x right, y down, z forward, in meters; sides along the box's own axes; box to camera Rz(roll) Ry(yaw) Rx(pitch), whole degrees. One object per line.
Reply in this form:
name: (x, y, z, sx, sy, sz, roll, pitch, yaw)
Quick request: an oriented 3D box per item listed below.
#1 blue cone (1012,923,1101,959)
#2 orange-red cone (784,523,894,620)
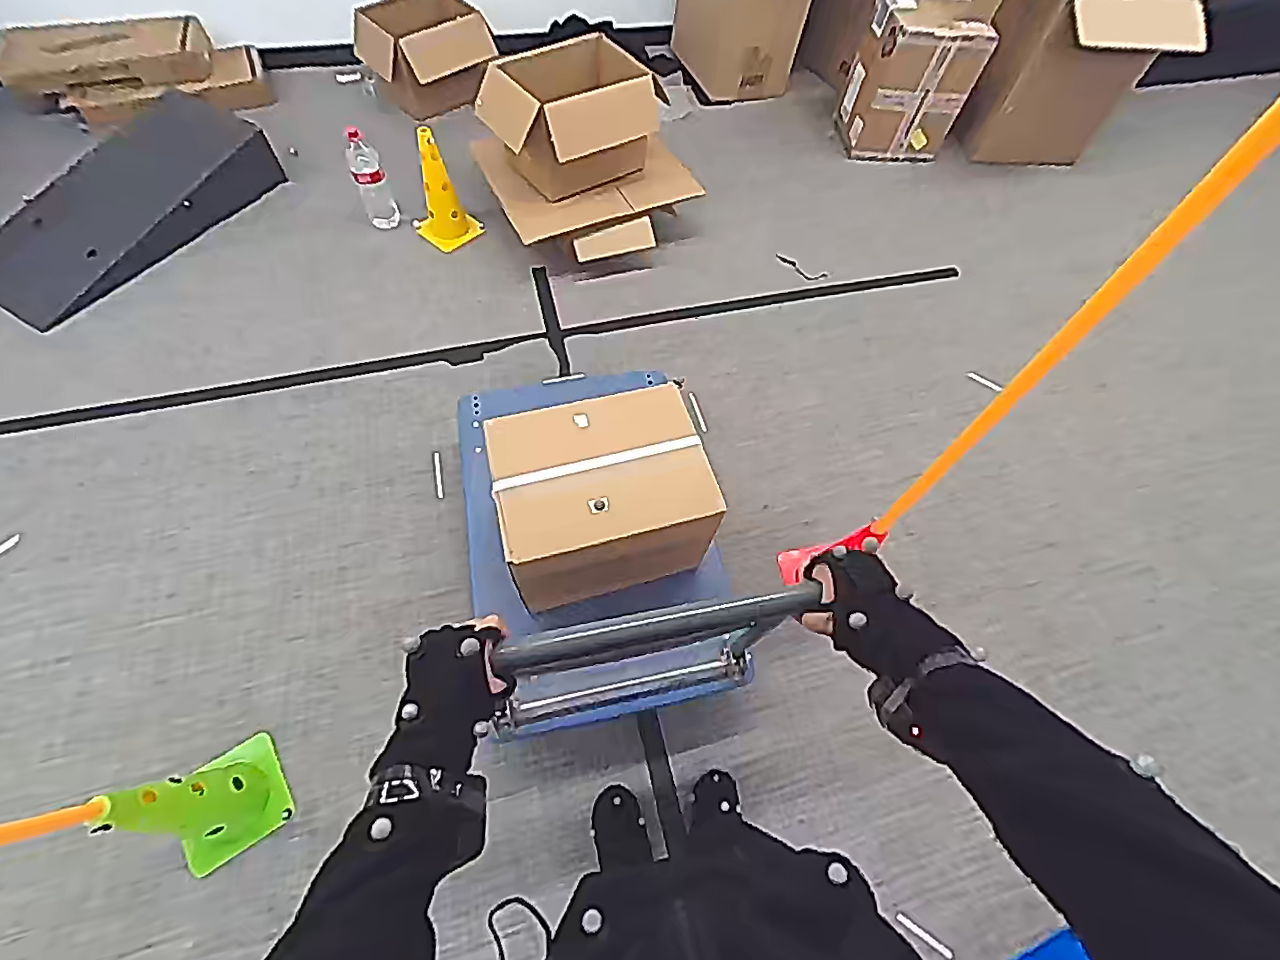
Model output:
blue cone: (0.865, 0.940, 0.926, 0.193, 0.380, 0.192, -15, 62, -12)
orange-red cone: (0.510, 0.189, 1.299, 0.199, 0.360, 0.198, -5, 62, -8)
